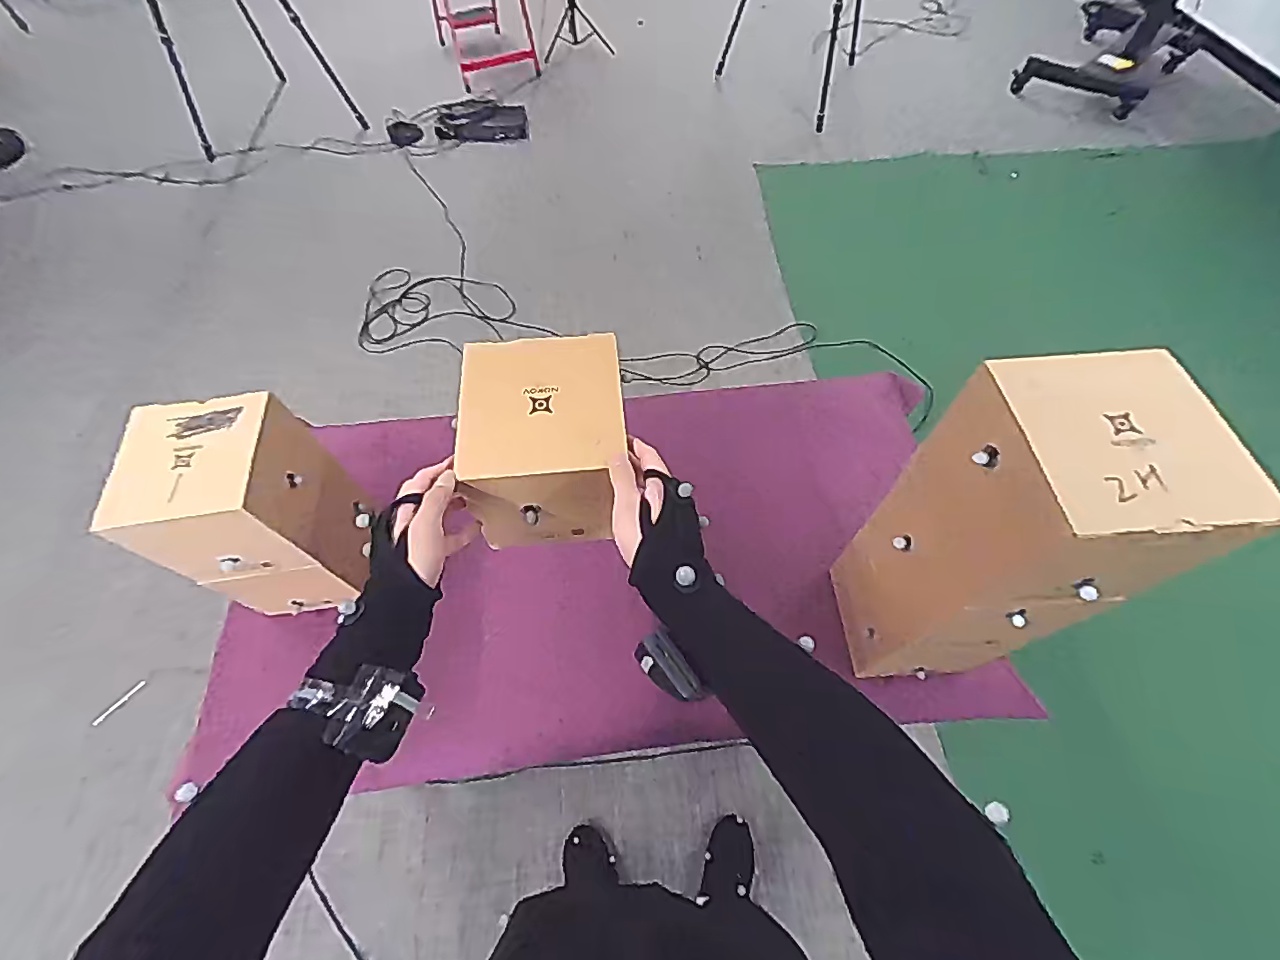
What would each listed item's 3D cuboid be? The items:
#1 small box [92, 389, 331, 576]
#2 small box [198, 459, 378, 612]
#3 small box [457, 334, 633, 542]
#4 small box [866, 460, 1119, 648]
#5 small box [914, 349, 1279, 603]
[{"bbox_3d":[-0.535,0.008,0.710,0.168,0.176,0.179,-8,61,-3],"label":"small box"},{"bbox_3d":[-0.533,0.091,0.851,0.168,0.176,0.179,-8,61,-3],"label":"small box"},{"bbox_3d":[-0.097,-0.038,0.614,0.168,0.176,0.179,-5,60,-3],"label":"small box"},{"bbox_3d":[0.393,0.089,0.647,0.168,0.176,0.179,-3,59,1],"label":"small box"},{"bbox_3d":[0.388,0.002,0.507,0.168,0.176,0.179,-4,60,0],"label":"small box"}]
